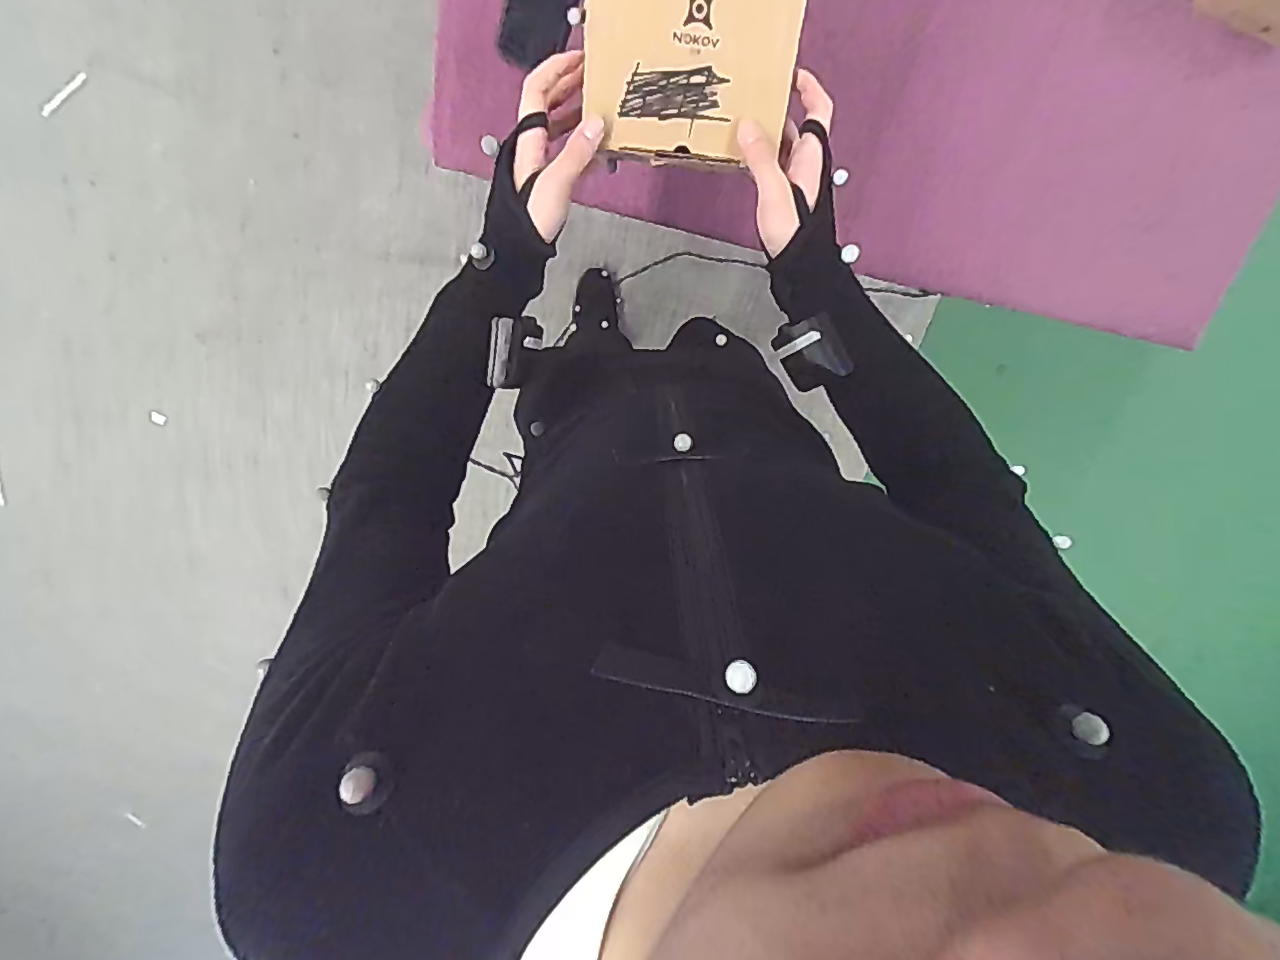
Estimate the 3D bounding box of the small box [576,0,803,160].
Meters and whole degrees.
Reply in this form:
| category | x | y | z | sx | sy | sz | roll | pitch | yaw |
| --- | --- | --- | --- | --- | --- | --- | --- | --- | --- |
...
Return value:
| category | x | y | z | sx | sy | sz | roll | pitch | yaw |
| --- | --- | --- | --- | --- | --- | --- | --- | --- | --- |
| small box | 0.032 | -0.387 | 0.468 | 0.168 | 0.176 | 0.179 | 2 | 118 | -8 |
